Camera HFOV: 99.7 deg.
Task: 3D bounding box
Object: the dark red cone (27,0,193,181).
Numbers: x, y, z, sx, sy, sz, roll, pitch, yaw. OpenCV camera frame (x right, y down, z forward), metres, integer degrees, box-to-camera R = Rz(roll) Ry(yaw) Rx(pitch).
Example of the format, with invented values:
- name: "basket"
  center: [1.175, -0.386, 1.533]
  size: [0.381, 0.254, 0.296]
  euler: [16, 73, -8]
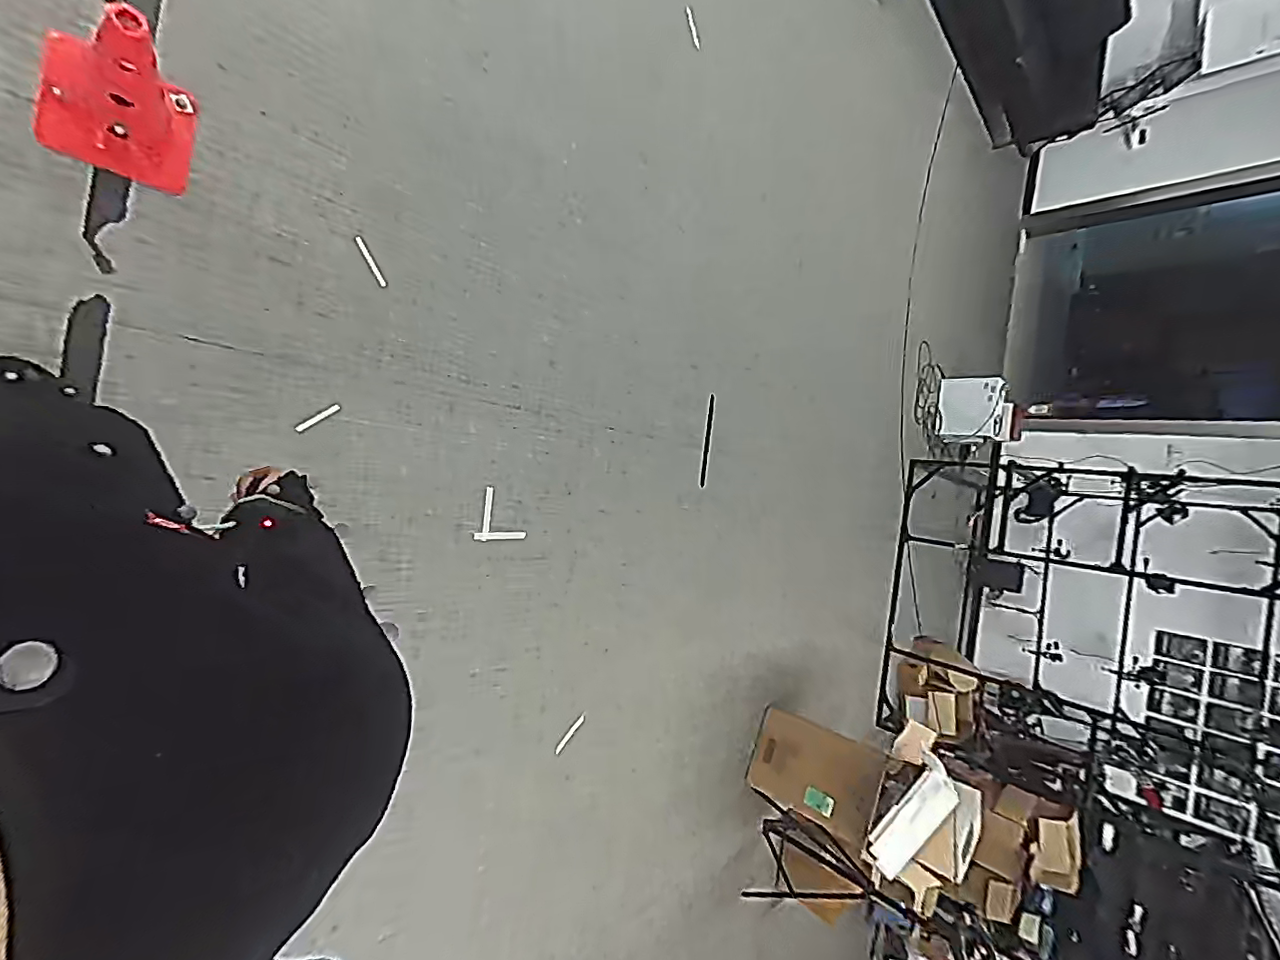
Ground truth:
- name: "dark red cone"
  center: [-0.806, -0.639, 0.833]
  size: [0.201, 0.394, 0.202]
  euler: [8, 90, -45]
